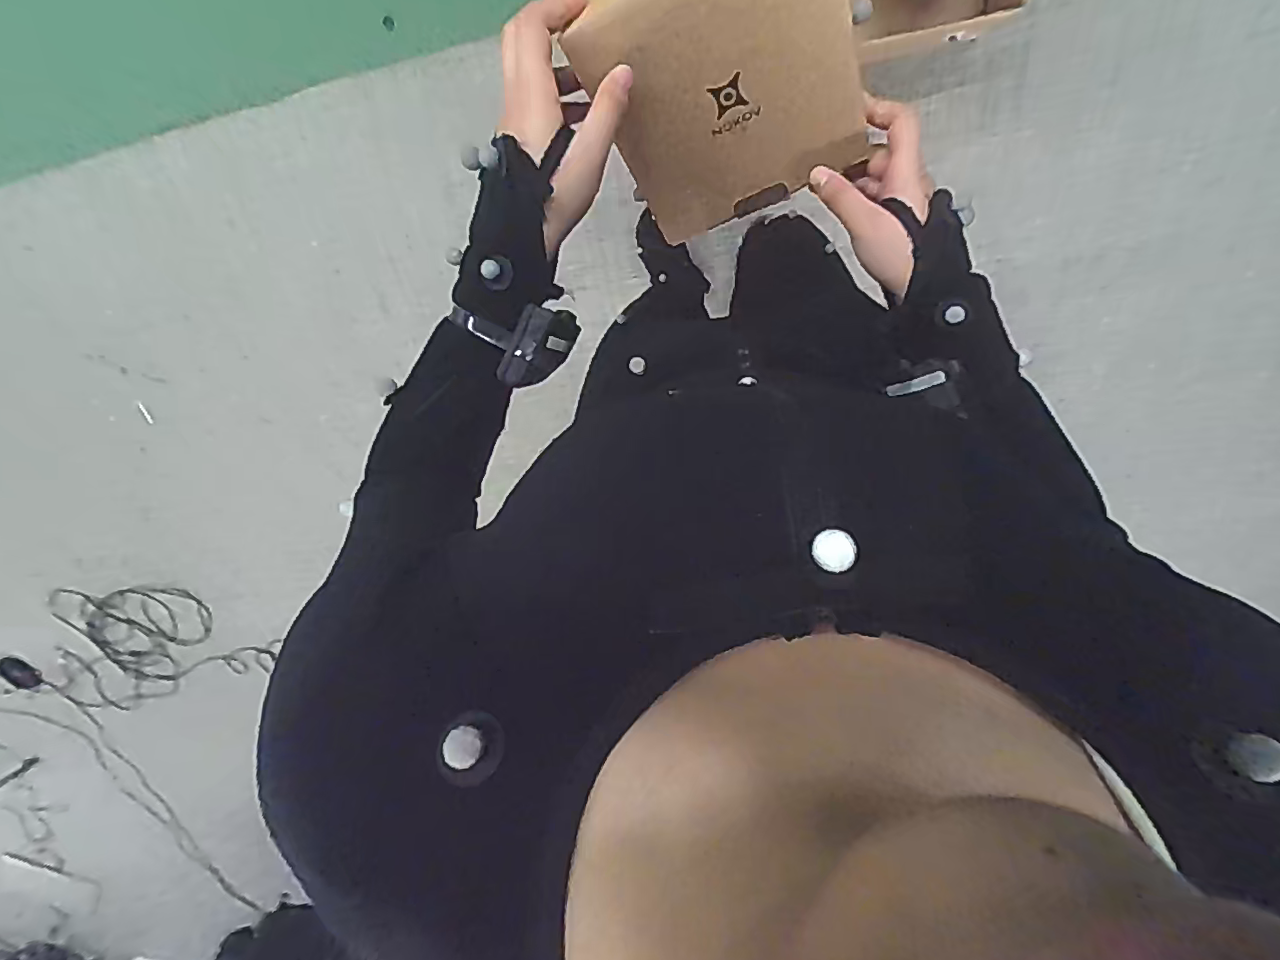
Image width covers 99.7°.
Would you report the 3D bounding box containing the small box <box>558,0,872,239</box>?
[{"bbox_3d":[0.056,-0.328,0.397,0.168,0.176,0.179,-16,149,23],"label":"small box"}]
